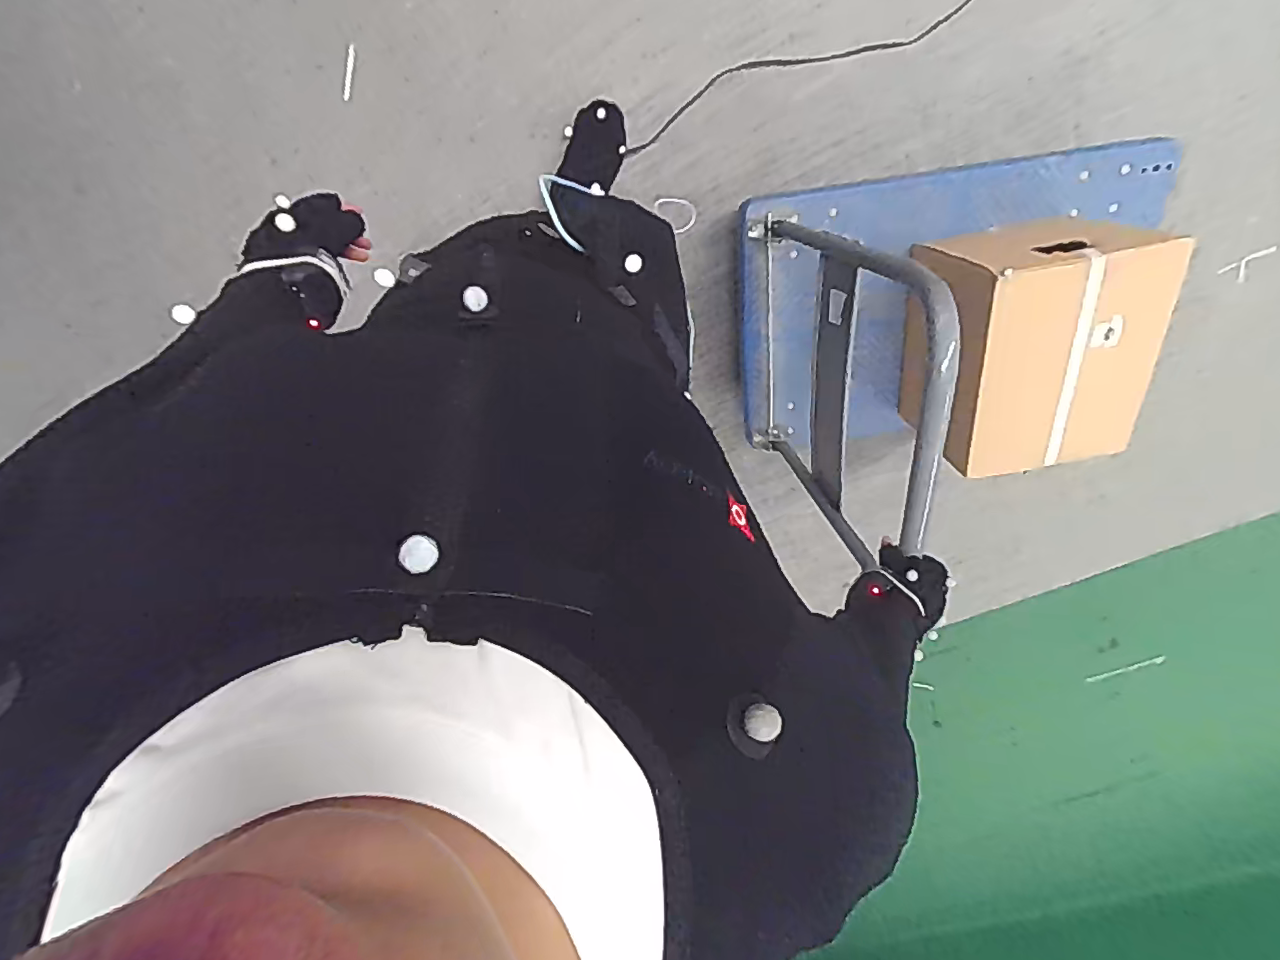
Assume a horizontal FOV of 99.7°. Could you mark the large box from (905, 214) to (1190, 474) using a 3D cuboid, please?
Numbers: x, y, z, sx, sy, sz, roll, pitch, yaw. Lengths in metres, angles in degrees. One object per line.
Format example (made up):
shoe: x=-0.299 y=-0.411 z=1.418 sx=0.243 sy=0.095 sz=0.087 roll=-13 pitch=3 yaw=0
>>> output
large box: x=0.763 y=-0.278 z=1.097 sx=0.320 sy=0.320 sz=0.408 roll=-11 pitch=121 yaw=4
